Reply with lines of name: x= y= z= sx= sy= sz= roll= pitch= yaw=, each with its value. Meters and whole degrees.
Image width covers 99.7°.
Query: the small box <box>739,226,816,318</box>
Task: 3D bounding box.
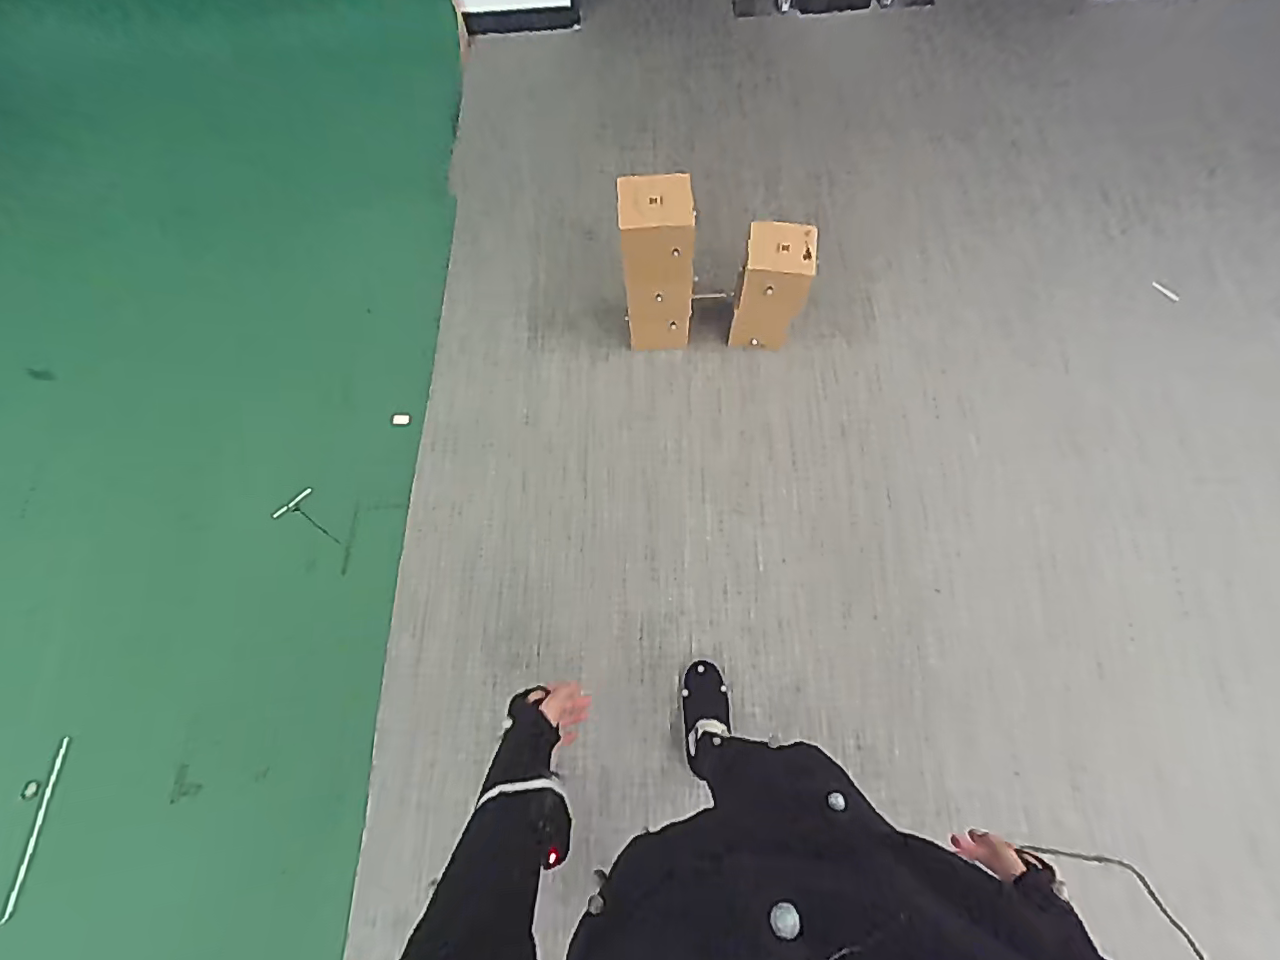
small box: x=0.370 y=-0.564 z=1.477 sx=0.179 sy=0.176 sz=0.168 roll=7 pitch=69 yaw=7

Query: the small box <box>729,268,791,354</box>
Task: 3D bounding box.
small box: x=0.363 y=-0.508 z=1.633 sx=0.168 sy=0.176 sz=0.179 roll=7 pitch=70 yaw=6

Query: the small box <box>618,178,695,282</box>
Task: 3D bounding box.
small box: x=0.040 y=-0.611 z=1.335 sx=0.179 sy=0.176 sz=0.168 roll=-3 pitch=68 yaw=3
